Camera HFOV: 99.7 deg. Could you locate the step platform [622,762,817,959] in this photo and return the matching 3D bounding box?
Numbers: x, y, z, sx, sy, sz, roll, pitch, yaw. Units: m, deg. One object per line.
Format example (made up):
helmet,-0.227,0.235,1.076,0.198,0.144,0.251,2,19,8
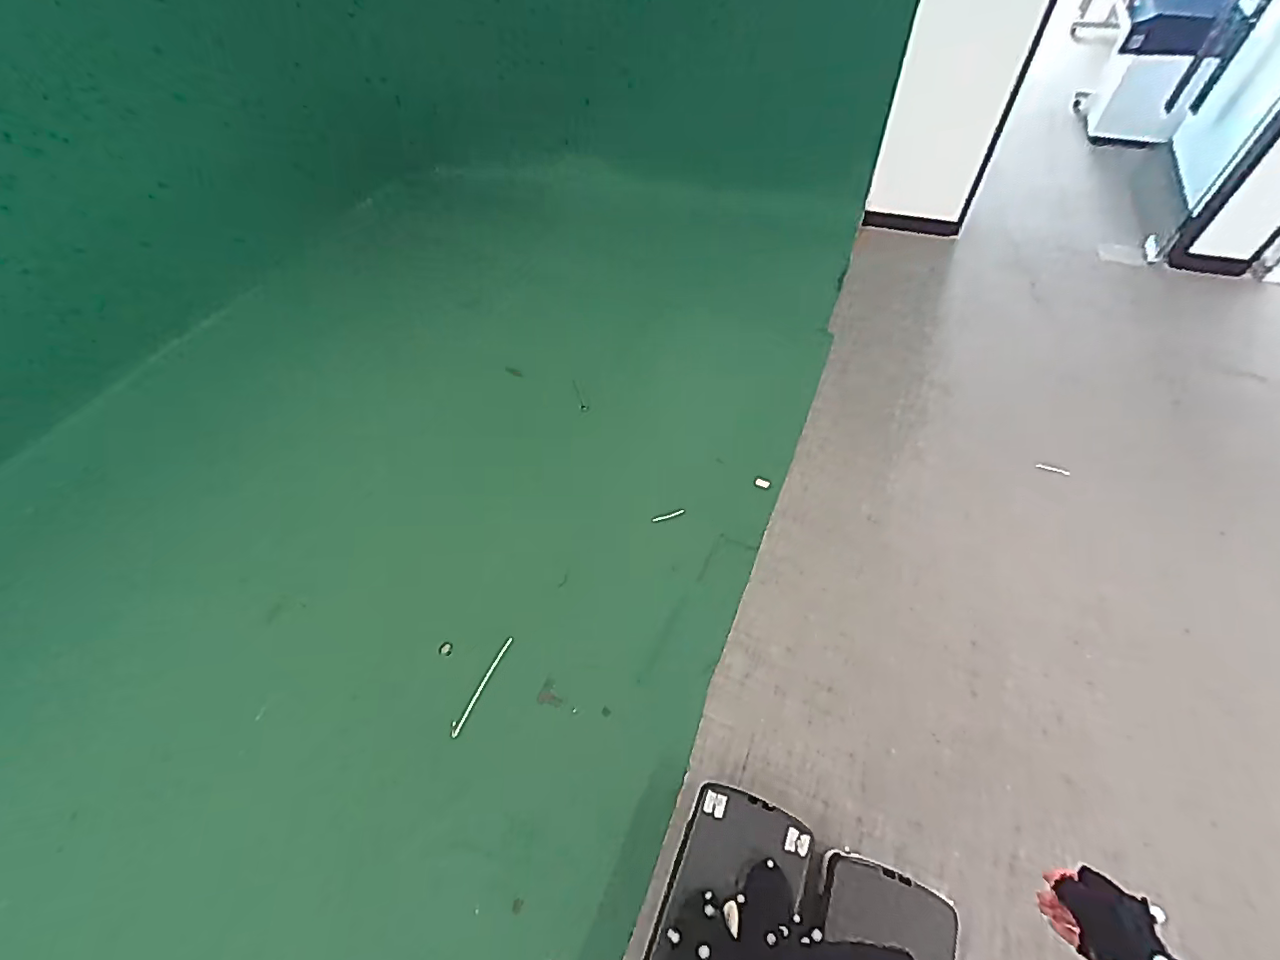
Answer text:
step platform,0.106,0.927,1.010,0.286,0.204,0.684,18,59,15
